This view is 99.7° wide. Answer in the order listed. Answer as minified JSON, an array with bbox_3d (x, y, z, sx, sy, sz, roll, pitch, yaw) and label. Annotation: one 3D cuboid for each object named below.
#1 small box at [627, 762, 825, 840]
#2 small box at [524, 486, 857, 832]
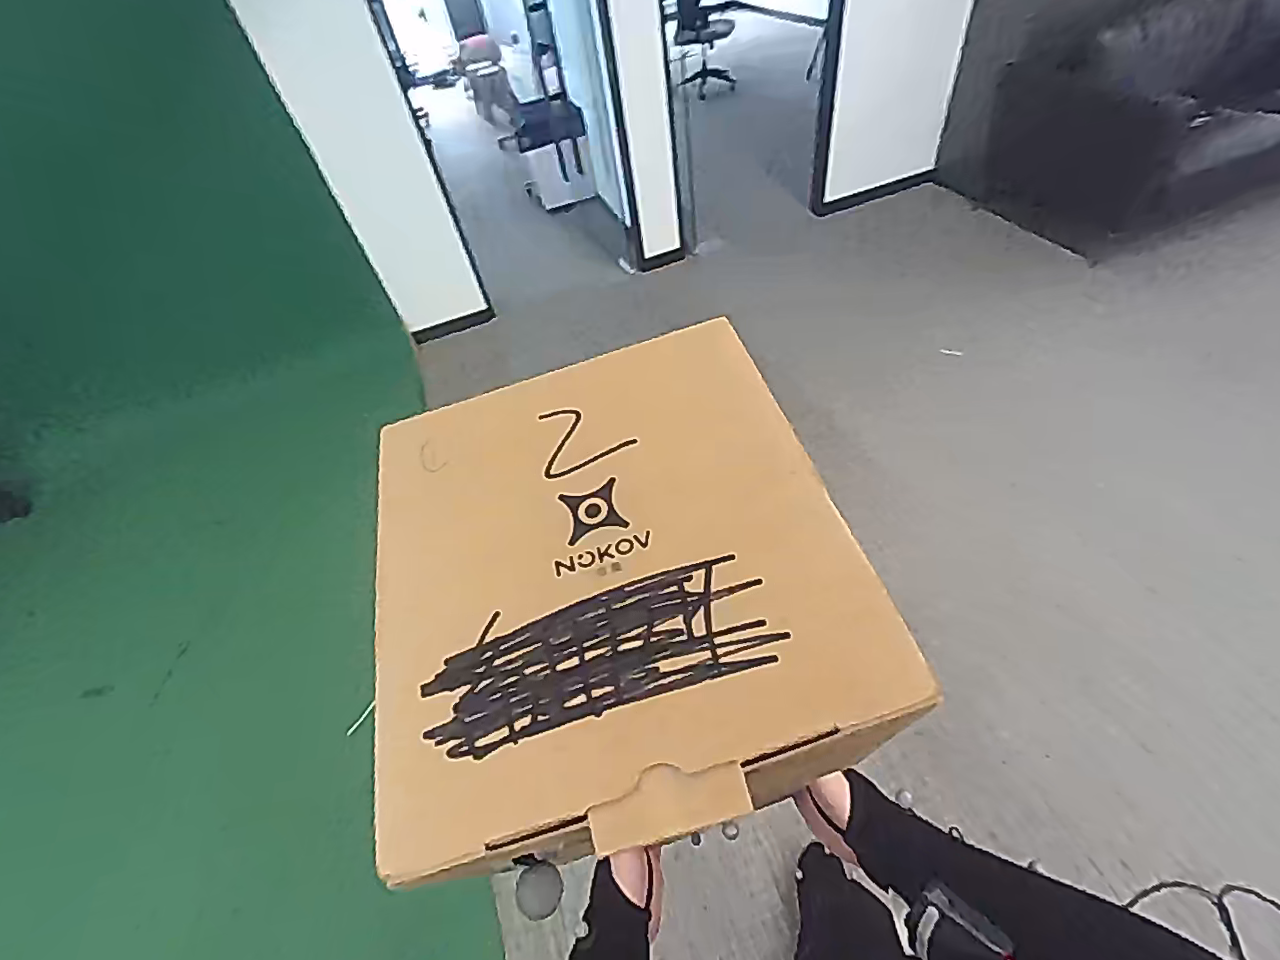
[{"bbox_3d":[0.059,0.229,0.532,0.168,0.176,0.179,-19,54,-1],"label":"small box"},{"bbox_3d":[0.029,0.138,0.402,0.168,0.176,0.179,-19,56,-2],"label":"small box"}]
